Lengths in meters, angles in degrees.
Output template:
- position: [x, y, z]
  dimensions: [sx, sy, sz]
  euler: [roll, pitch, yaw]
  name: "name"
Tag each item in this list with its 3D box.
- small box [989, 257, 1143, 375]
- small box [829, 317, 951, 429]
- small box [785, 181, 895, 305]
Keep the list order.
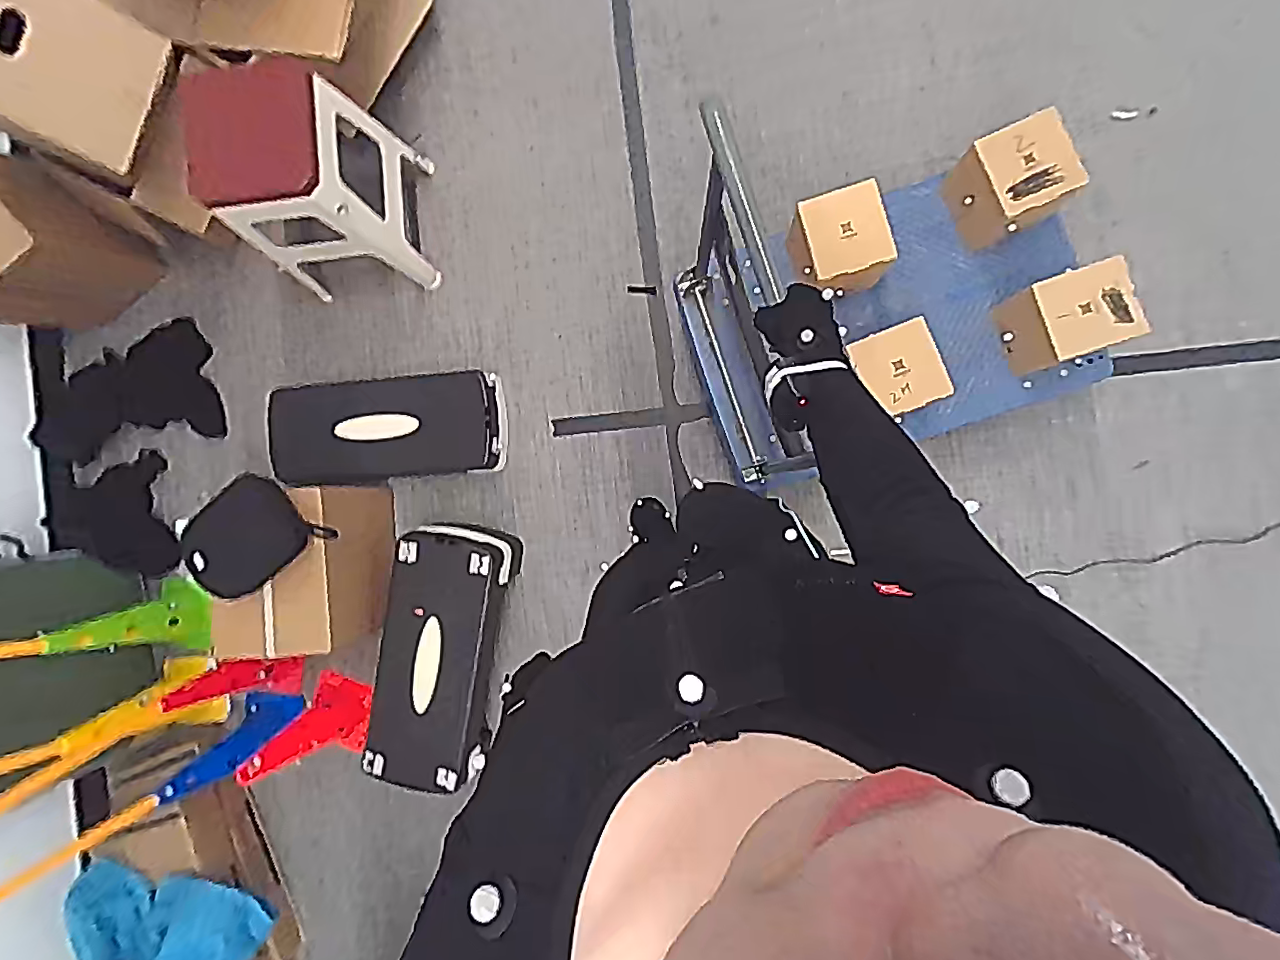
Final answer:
- position: [0.894, -0.339, 1.152]
  dimensions: [0.179, 0.176, 0.168]
  euler: [-18, 87, 7]
  name: "small box"
- position: [0.537, -0.226, 1.191]
  dimensions: [0.168, 0.176, 0.179]
  euler: [-21, 87, 6]
  name: "small box"
- position: [0.435, -0.518, 1.207]
  dimensions: [0.168, 0.176, 0.179]
  euler: [-16, 89, 5]
  name: "small box"
